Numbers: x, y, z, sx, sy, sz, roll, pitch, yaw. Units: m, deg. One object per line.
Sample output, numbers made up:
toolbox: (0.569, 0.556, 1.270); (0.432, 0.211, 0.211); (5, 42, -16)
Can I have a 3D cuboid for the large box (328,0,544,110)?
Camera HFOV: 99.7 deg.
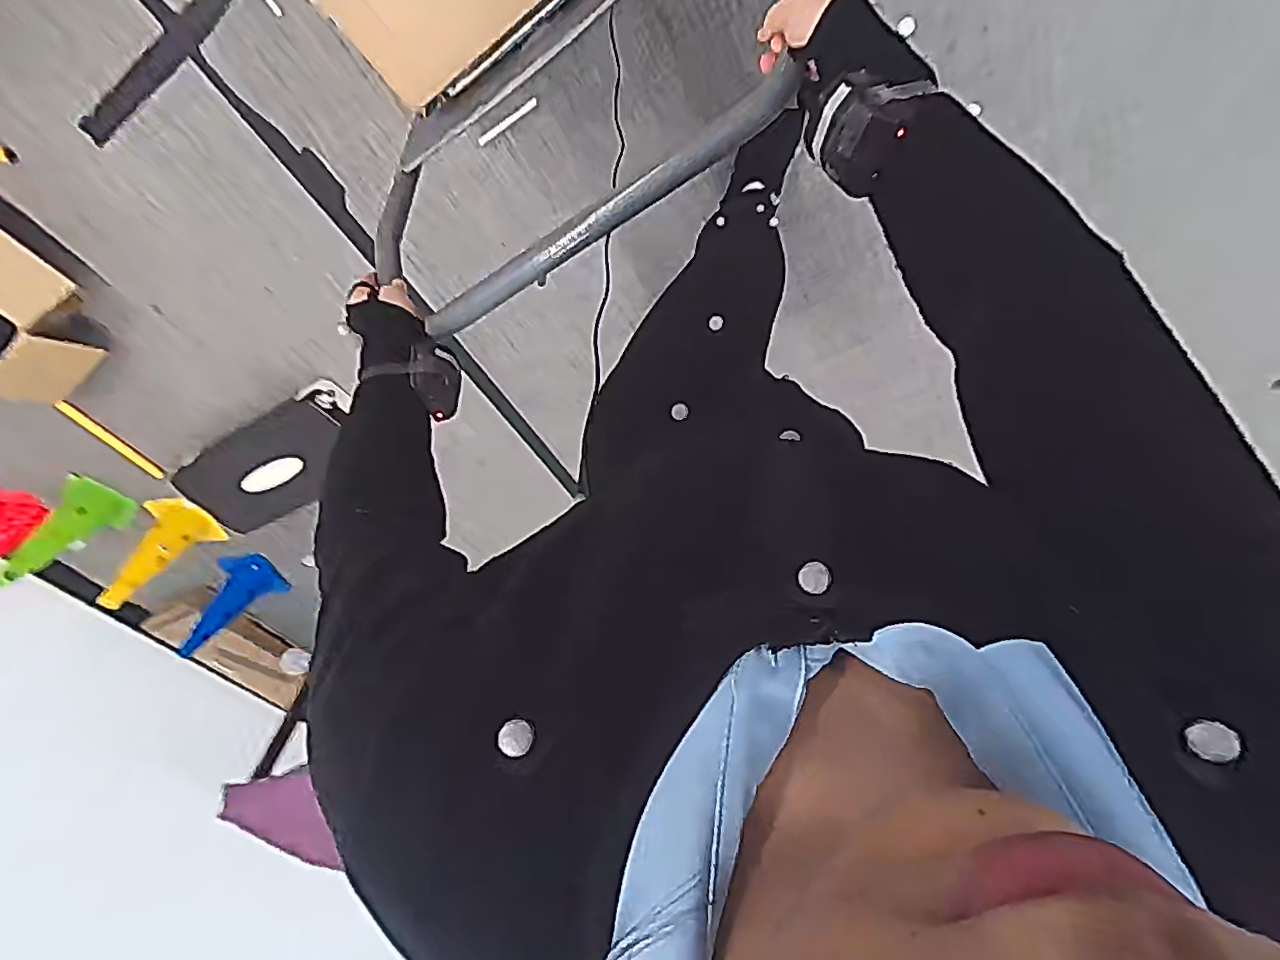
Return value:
large box: (-0.226, -0.770, 0.657); (0.408, 0.320, 0.320); (-26, 138, 22)
